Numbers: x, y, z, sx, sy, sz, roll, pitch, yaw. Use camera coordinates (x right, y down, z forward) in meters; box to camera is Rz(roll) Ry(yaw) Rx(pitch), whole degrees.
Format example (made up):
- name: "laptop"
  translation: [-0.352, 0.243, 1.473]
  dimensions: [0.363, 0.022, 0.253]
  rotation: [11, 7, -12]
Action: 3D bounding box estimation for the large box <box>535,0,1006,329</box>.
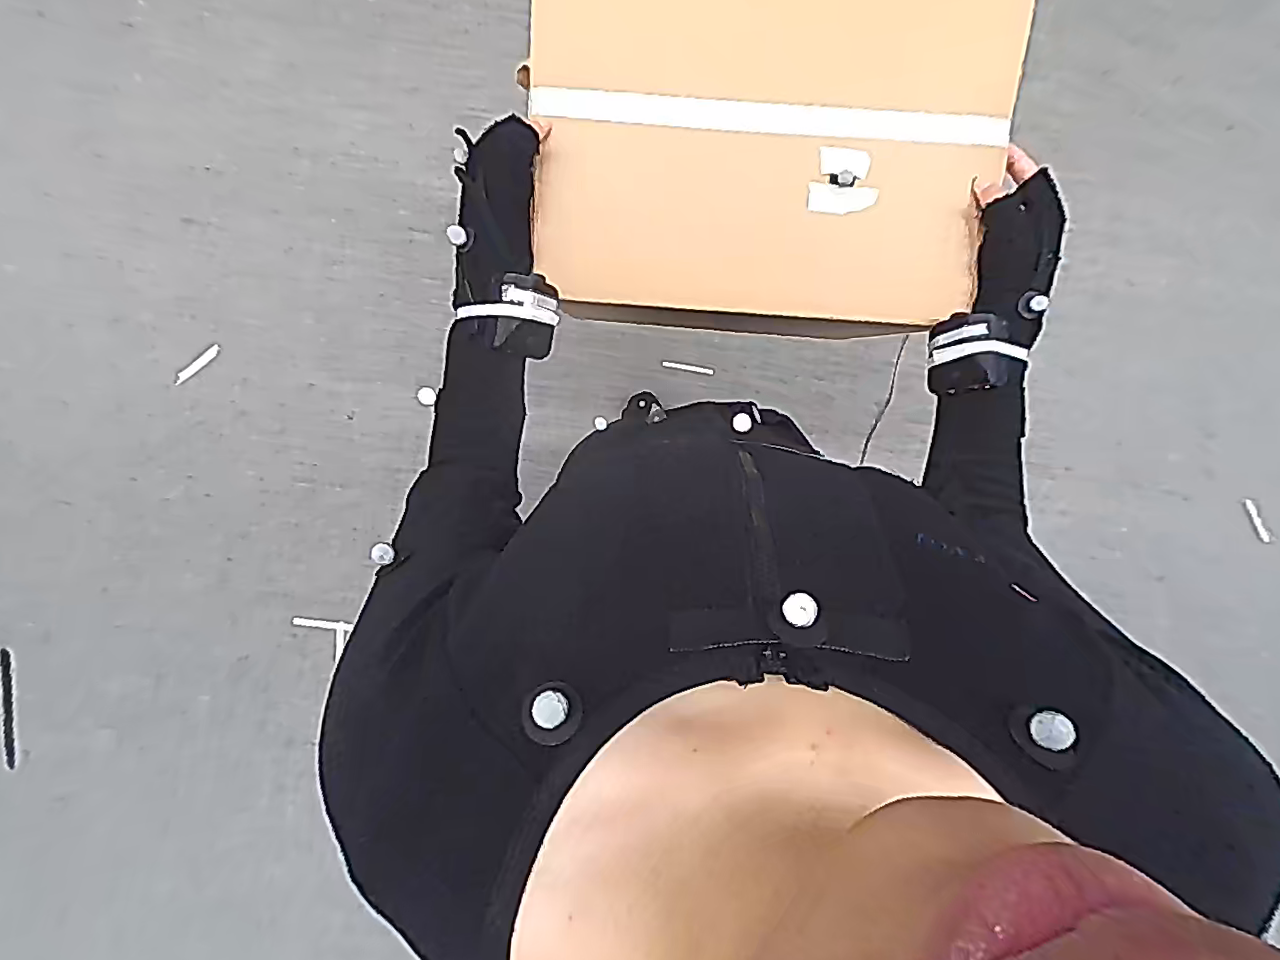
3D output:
- name: "large box"
  translation: [0.105, -0.347, 0.622]
  dimensions: [0.408, 0.320, 0.320]
  rotation: [3, 104, -1]
